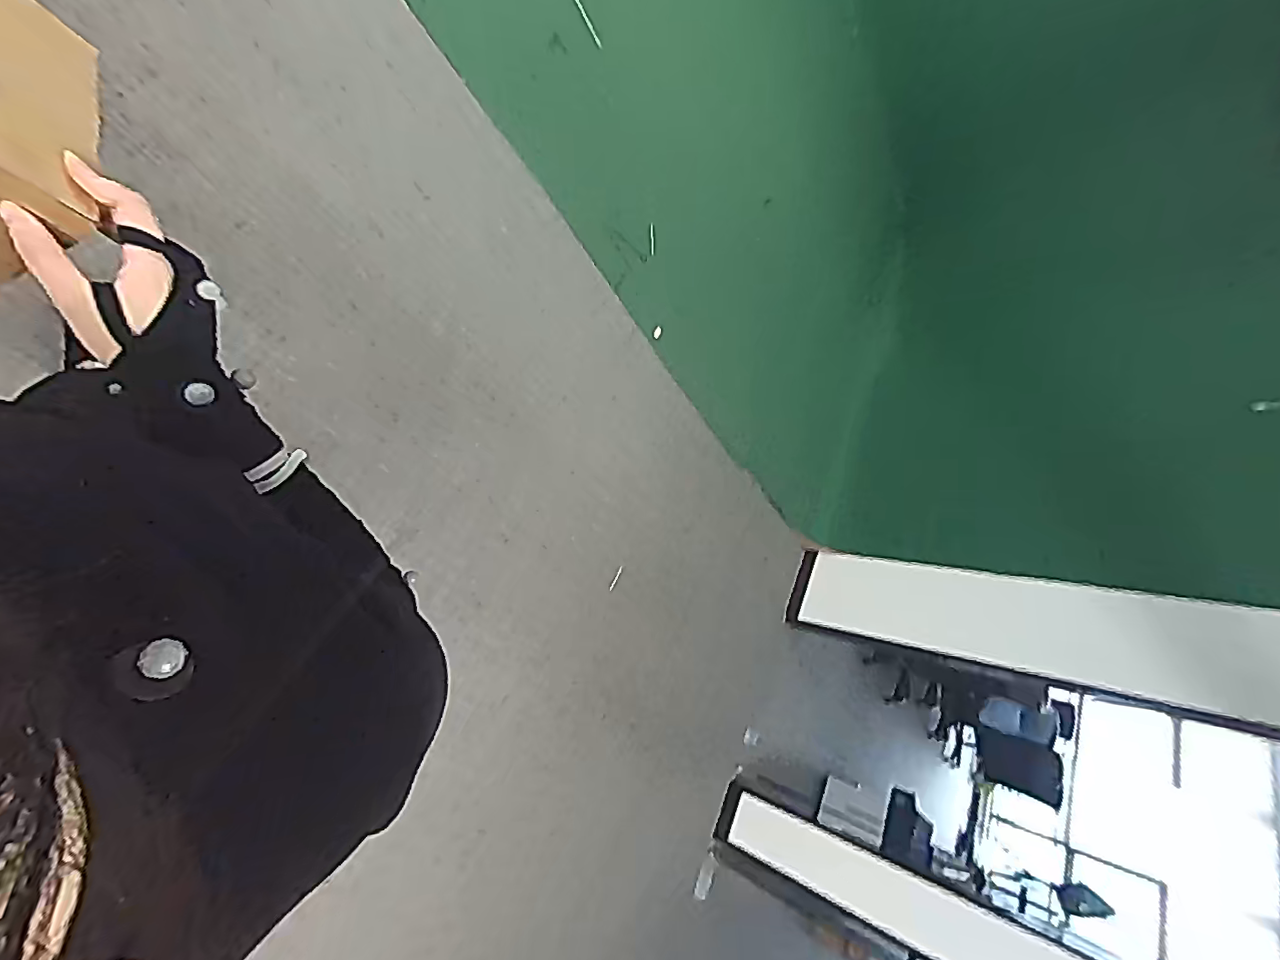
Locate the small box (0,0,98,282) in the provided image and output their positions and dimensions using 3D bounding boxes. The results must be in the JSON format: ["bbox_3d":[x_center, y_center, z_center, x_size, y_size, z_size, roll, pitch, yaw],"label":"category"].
[{"bbox_3d":[-0.453,-0.223,0.292,0.179,0.168,0.176,38,31,-68],"label":"small box"}]
